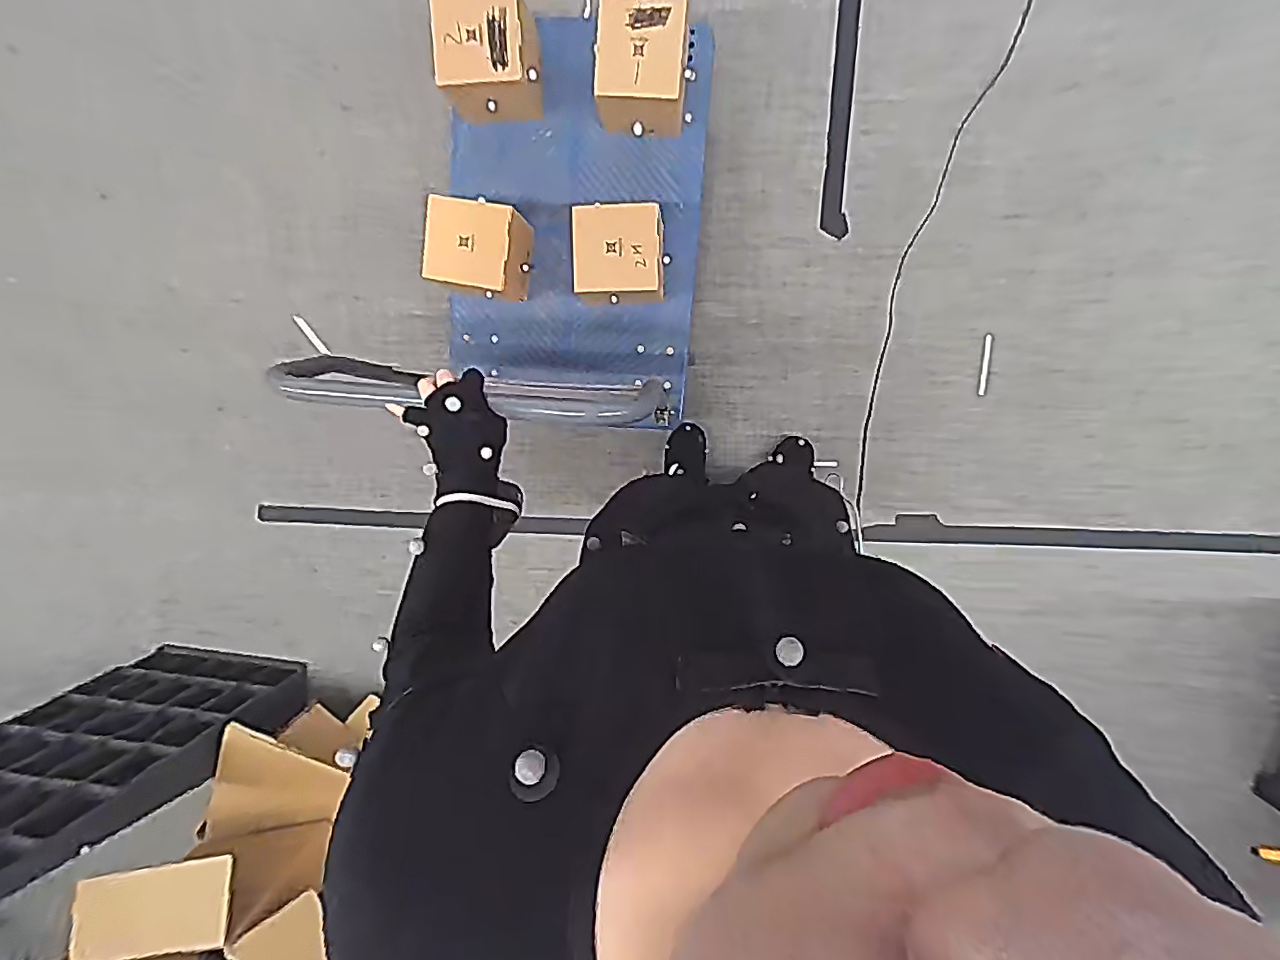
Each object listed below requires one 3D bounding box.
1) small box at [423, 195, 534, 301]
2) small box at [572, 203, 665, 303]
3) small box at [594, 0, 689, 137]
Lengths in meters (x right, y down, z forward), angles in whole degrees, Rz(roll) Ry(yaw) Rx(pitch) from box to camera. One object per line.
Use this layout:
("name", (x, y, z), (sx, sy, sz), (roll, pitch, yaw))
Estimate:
("small box", (-0.346, -0.497, 1.180), (0.179, 0.176, 0.168), (9, 100, 2))
("small box", (-0.041, -0.475, 1.155), (0.179, 0.176, 0.168), (0, 100, 5))
("small box", (0.007, -0.827, 1.088), (0.168, 0.176, 0.179), (6, 102, 4))
